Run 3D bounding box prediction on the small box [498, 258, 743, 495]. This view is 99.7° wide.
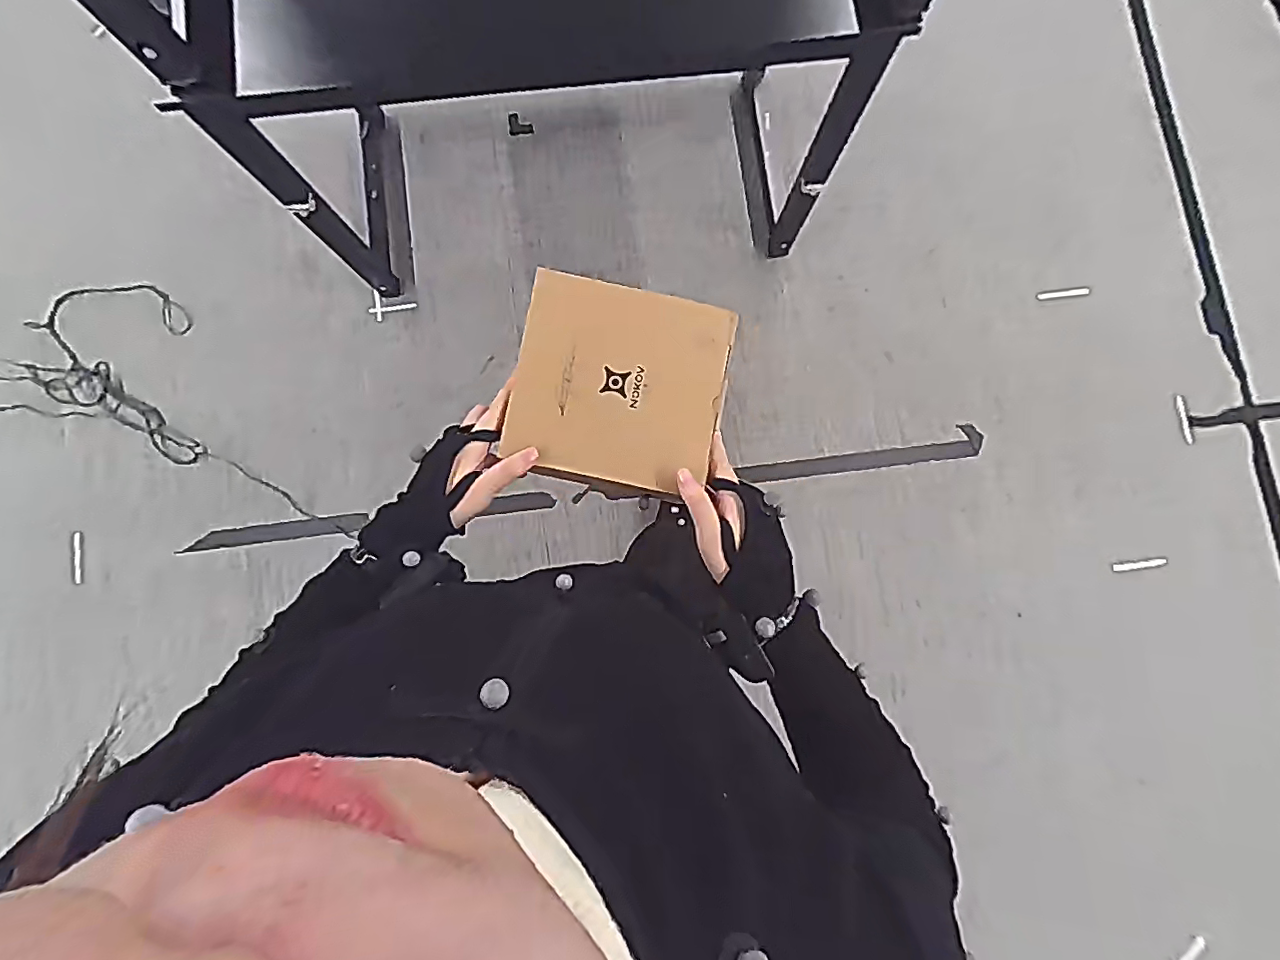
[{"bbox_3d":[-0.018,-0.082,0.522,0.179,0.176,0.168,12,86,-2],"label":"small box"}]
